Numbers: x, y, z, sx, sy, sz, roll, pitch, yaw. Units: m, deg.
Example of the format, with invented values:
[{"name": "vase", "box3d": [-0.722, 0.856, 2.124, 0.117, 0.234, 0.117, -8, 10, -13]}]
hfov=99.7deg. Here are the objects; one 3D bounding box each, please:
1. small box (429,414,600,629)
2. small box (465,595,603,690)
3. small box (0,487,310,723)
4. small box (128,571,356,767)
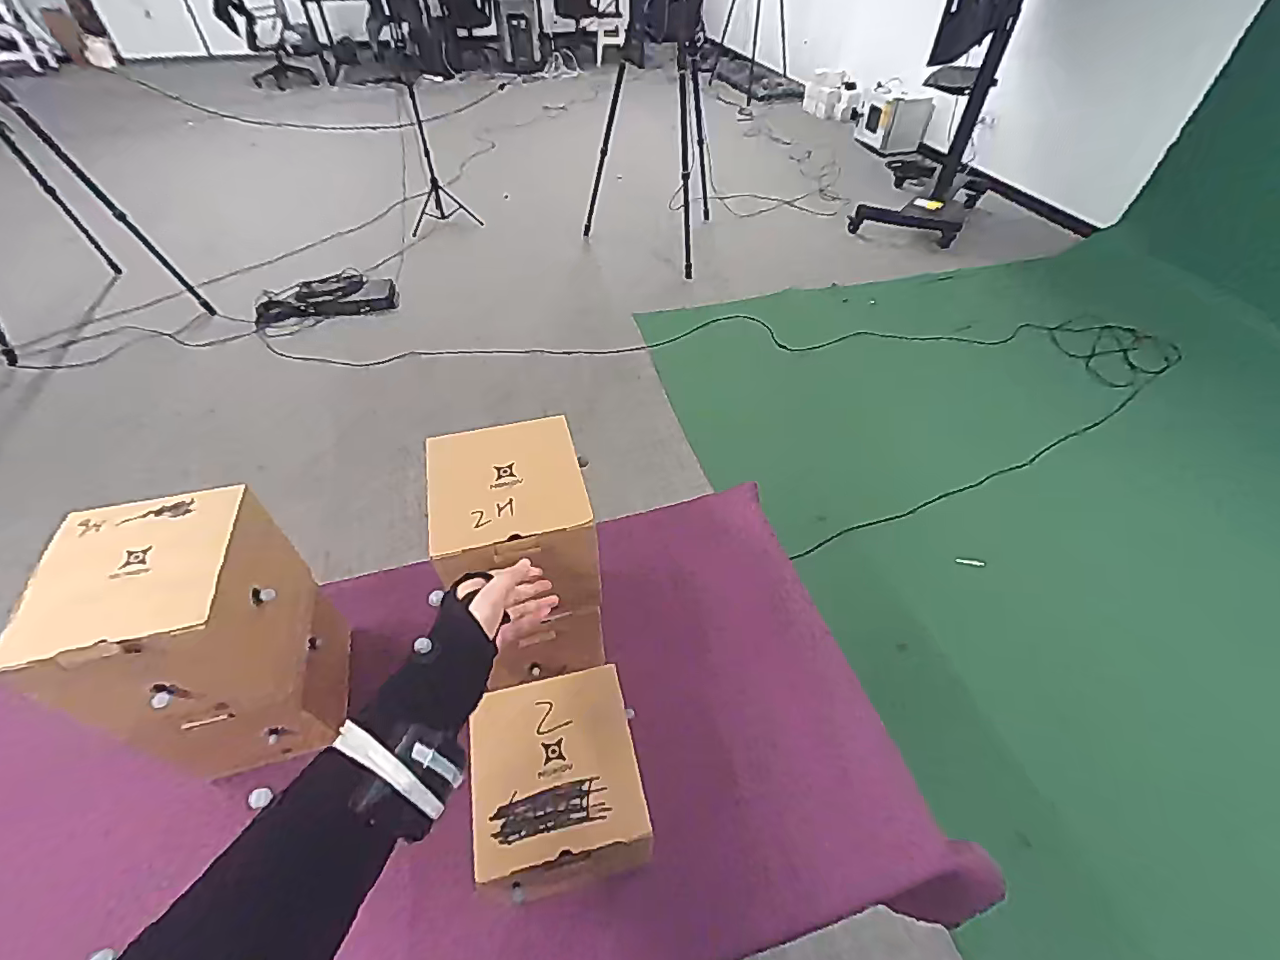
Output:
[{"name": "small box", "box3d": [-0.148, 0.050, 0.652, 0.168, 0.176, 0.179, -12, 50, -10]}, {"name": "small box", "box3d": [-0.153, 0.166, 0.769, 0.168, 0.176, 0.179, -14, 50, -12]}, {"name": "small box", "box3d": [-0.477, 0.137, 0.573, 0.168, 0.176, 0.179, -11, 49, -12]}, {"name": "small box", "box3d": [-0.485, 0.247, 0.696, 0.168, 0.176, 0.179, -11, 49, -11]}]
